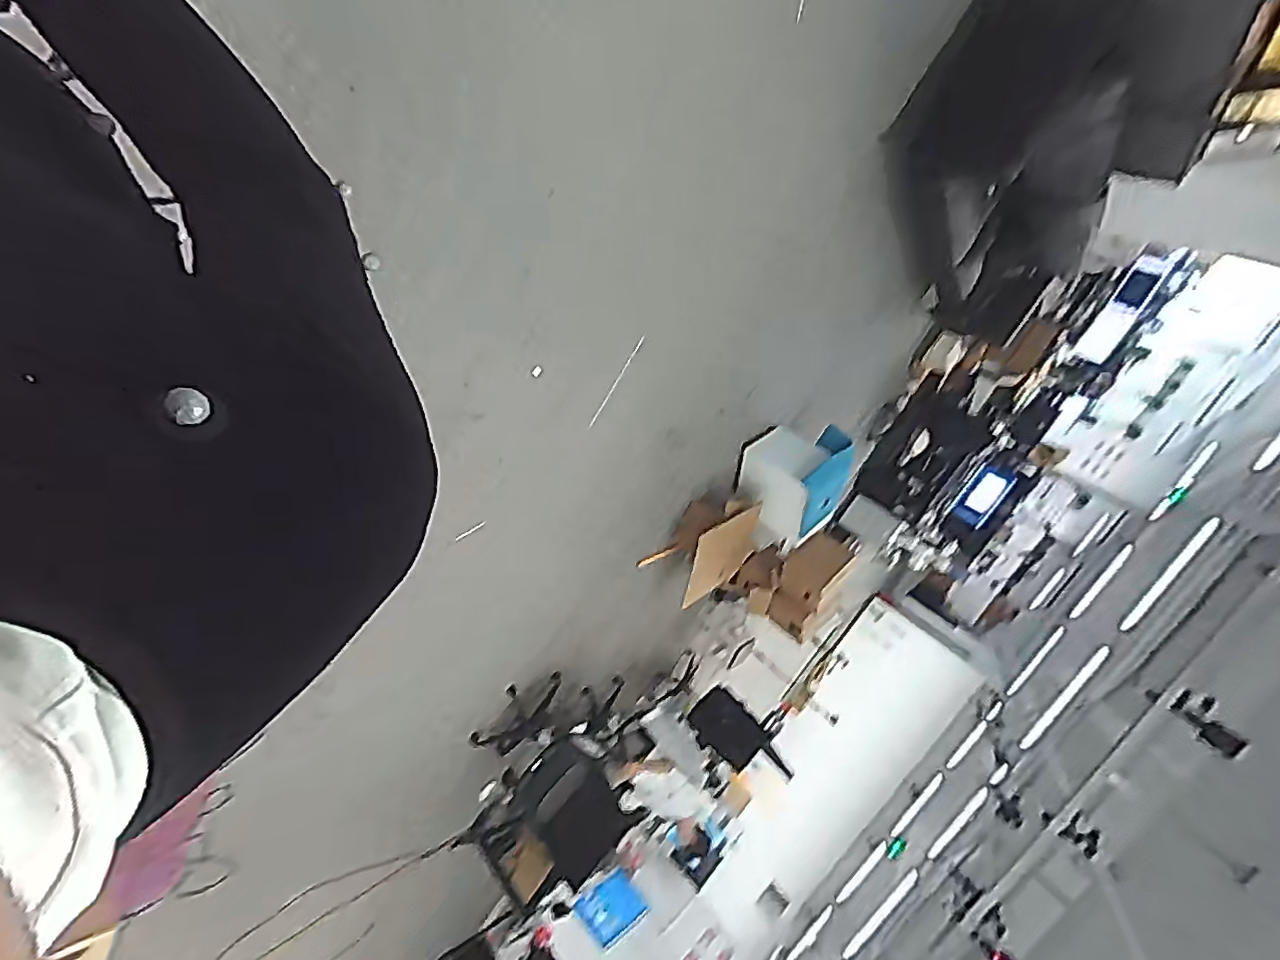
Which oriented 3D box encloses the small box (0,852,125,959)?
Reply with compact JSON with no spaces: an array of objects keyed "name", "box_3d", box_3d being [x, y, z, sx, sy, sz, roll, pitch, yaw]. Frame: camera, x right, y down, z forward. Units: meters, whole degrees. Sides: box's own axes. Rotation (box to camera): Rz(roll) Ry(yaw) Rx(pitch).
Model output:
[{"name":"small box","box_3d":[-1.052,0.801,0.952,0.168,0.176,0.179,11,113,-54]}]
